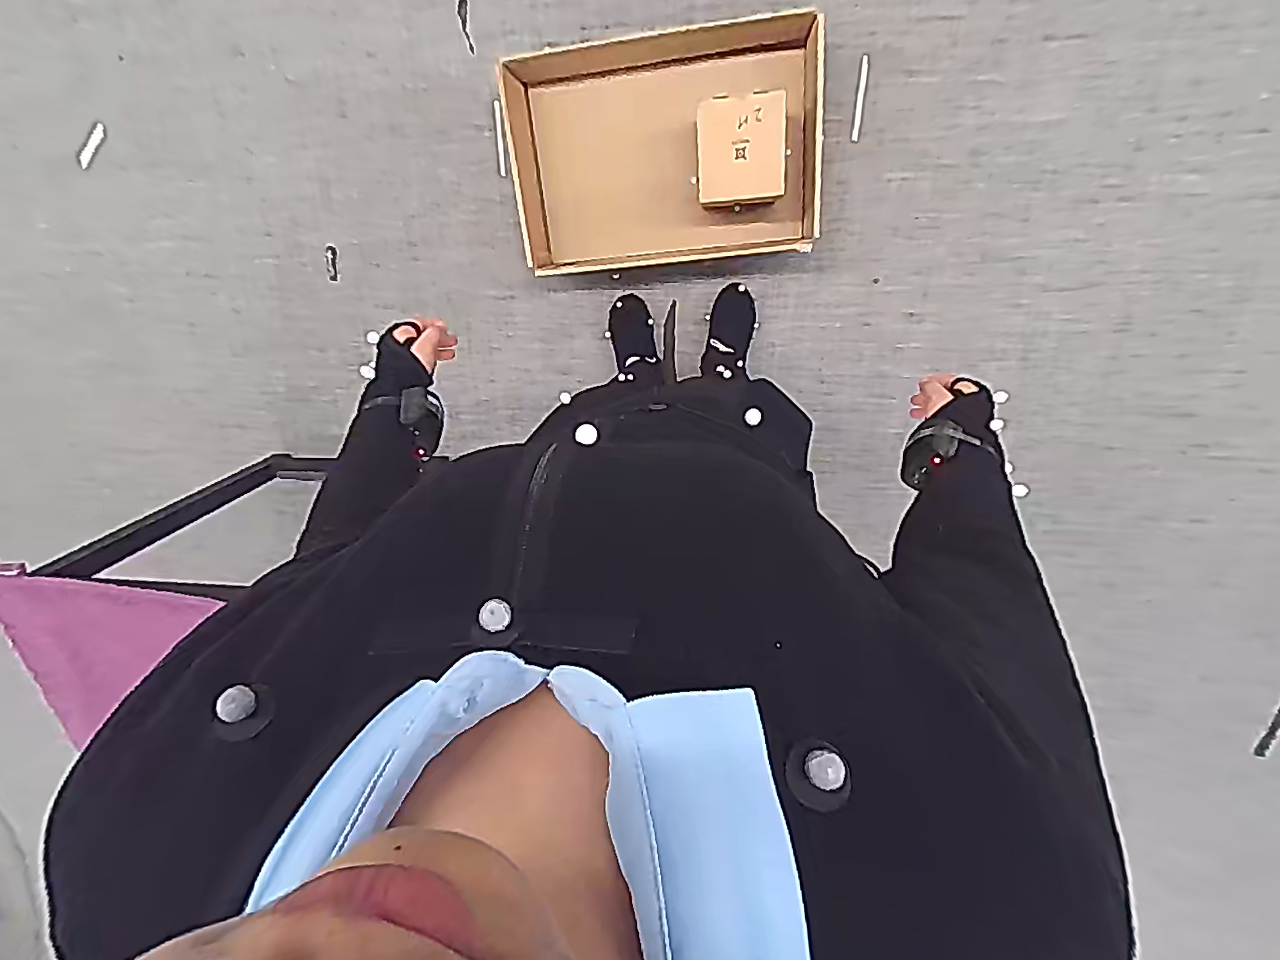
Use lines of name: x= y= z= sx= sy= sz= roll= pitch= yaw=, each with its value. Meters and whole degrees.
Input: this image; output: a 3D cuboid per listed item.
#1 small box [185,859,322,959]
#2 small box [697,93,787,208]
small box: x=-0.853 y=0.993 z=1.216 sx=0.168 sy=0.176 sz=0.179 roll=2 pitch=113 yaw=7
small box: x=0.203 y=-0.659 z=1.103 sx=0.168 sy=0.176 sz=0.179 roll=-1 pitch=112 yaw=8
